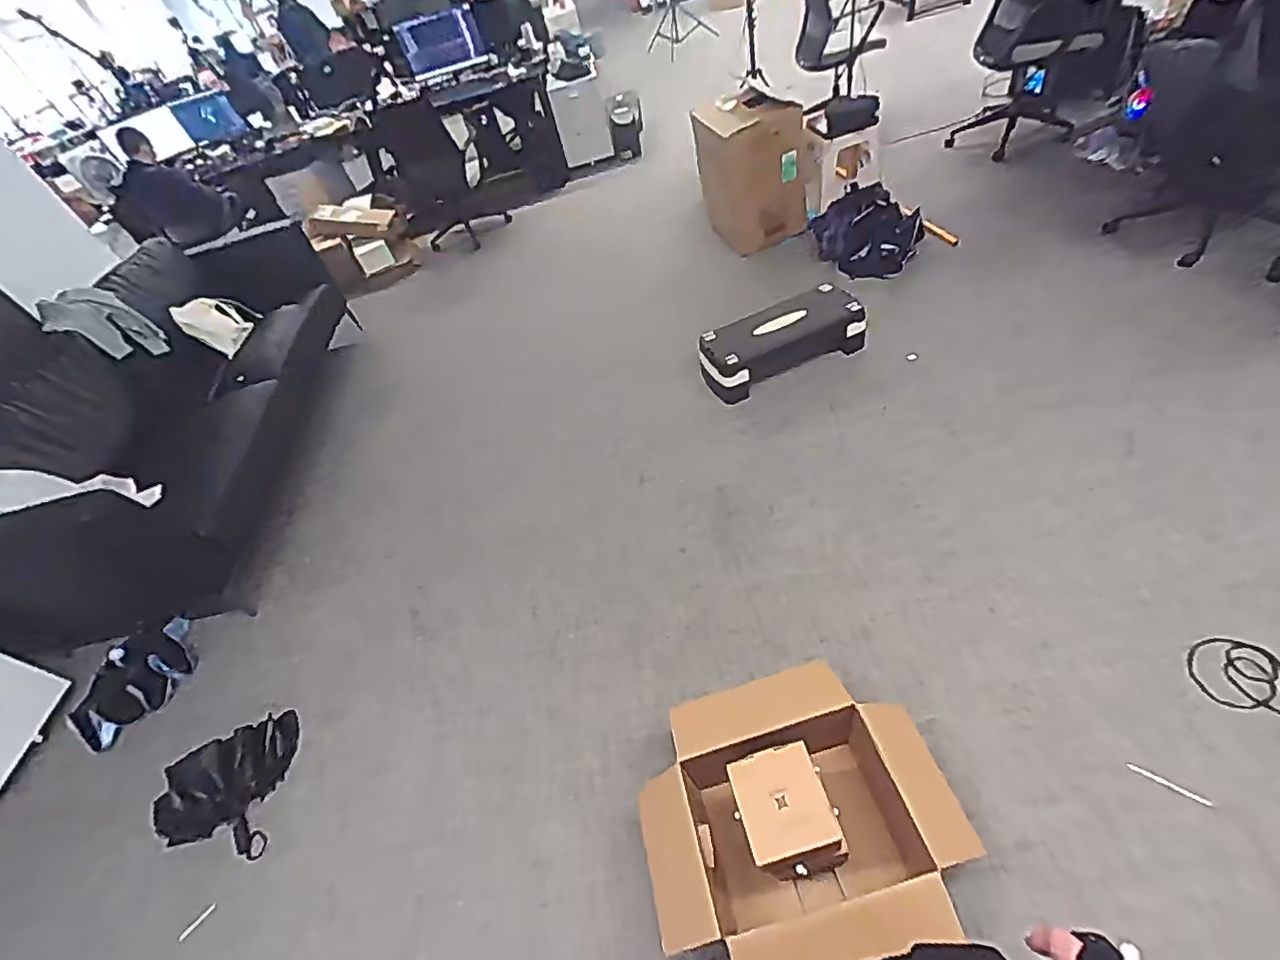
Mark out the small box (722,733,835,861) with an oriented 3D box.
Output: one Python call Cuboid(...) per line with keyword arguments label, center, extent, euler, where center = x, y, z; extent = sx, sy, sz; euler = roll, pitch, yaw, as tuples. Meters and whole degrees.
Cuboid(label="small box", center=(0.279, 0.647, 1.100), extent=(0.168, 0.176, 0.179), euler=(-20, 49, 3))
